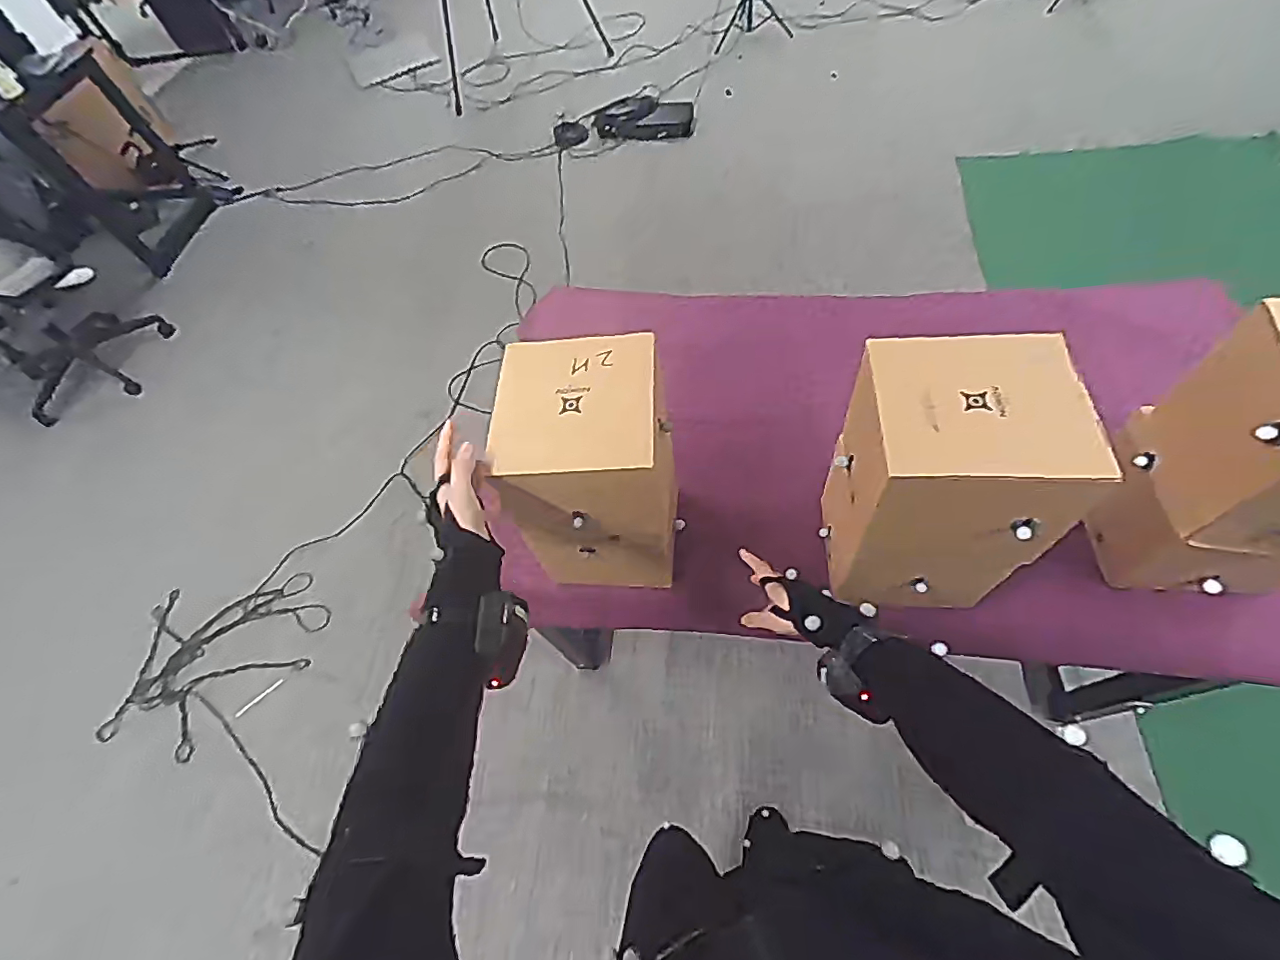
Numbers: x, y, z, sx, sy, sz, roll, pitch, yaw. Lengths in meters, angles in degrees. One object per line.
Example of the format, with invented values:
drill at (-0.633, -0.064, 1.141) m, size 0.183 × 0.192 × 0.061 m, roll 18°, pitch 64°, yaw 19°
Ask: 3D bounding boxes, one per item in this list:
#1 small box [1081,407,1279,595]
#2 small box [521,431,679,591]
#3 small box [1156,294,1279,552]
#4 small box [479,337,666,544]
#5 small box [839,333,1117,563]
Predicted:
small box at (0.673, 0.028, 0.640) m, size 0.179 × 0.176 × 0.168 m, roll 0°, pitch 57°, yaw 12°
small box at (-0.043, 0.047, 0.756) m, size 0.179 × 0.176 × 0.168 m, roll 0°, pitch 57°, yaw 9°
small box at (0.632, -0.044, 0.497) m, size 0.168 × 0.176 × 0.179 m, roll 7°, pitch 60°, yaw 15°
small box at (-0.059, -0.034, 0.613) m, size 0.168 × 0.176 × 0.179 m, roll -3°, pitch 57°, yaw 7°
small box at (0.308, -0.026, 0.543) m, size 0.179 × 0.176 × 0.168 m, roll 0°, pitch 56°, yaw 11°
